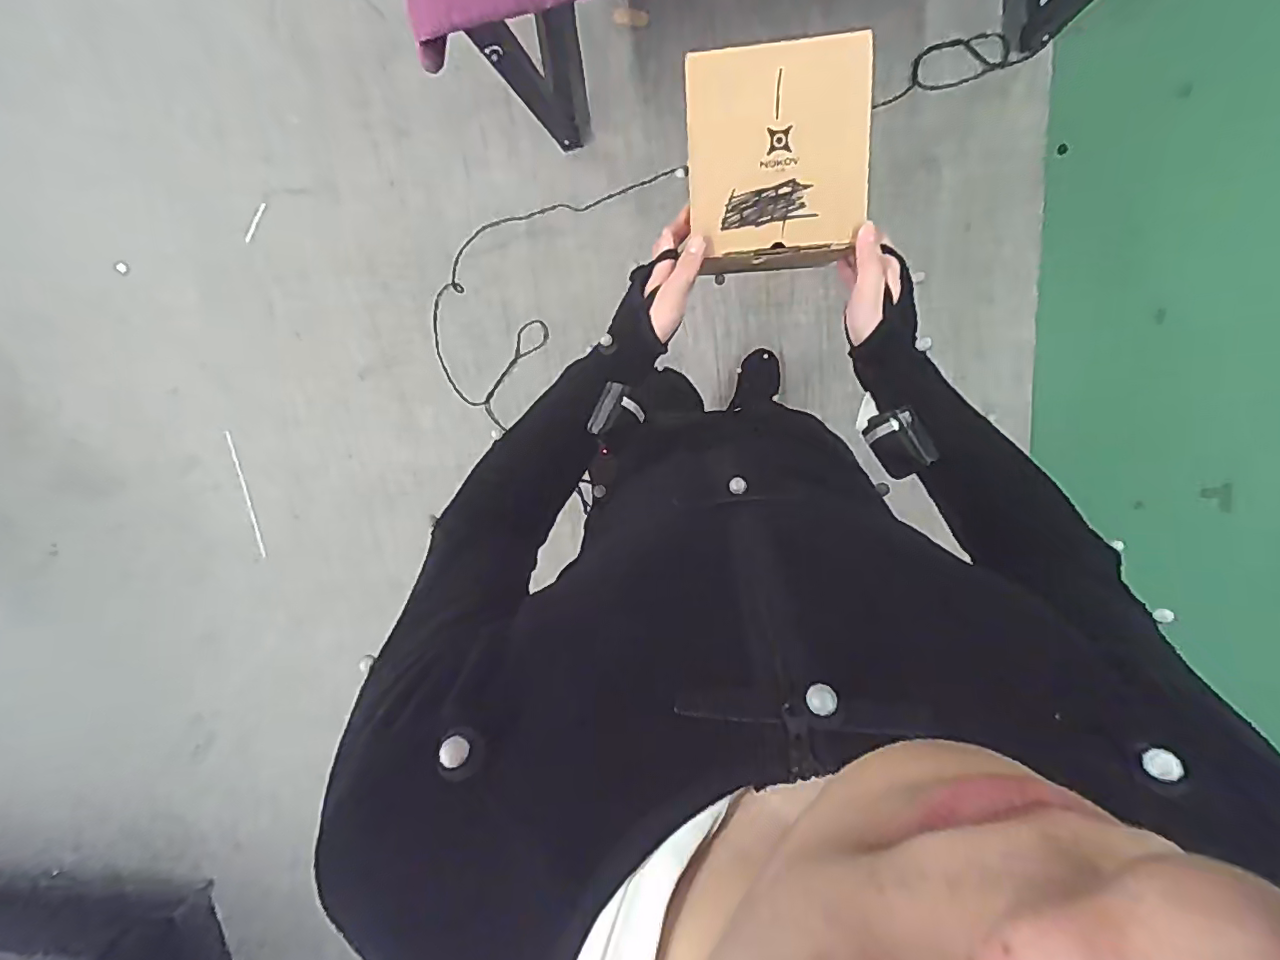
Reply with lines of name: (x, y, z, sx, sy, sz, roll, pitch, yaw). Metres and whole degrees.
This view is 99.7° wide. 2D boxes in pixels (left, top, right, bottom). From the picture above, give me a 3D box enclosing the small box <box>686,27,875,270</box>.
small box: (0.136, -0.326, 0.574, 0.168, 0.176, 0.179, -3, 103, 6)
